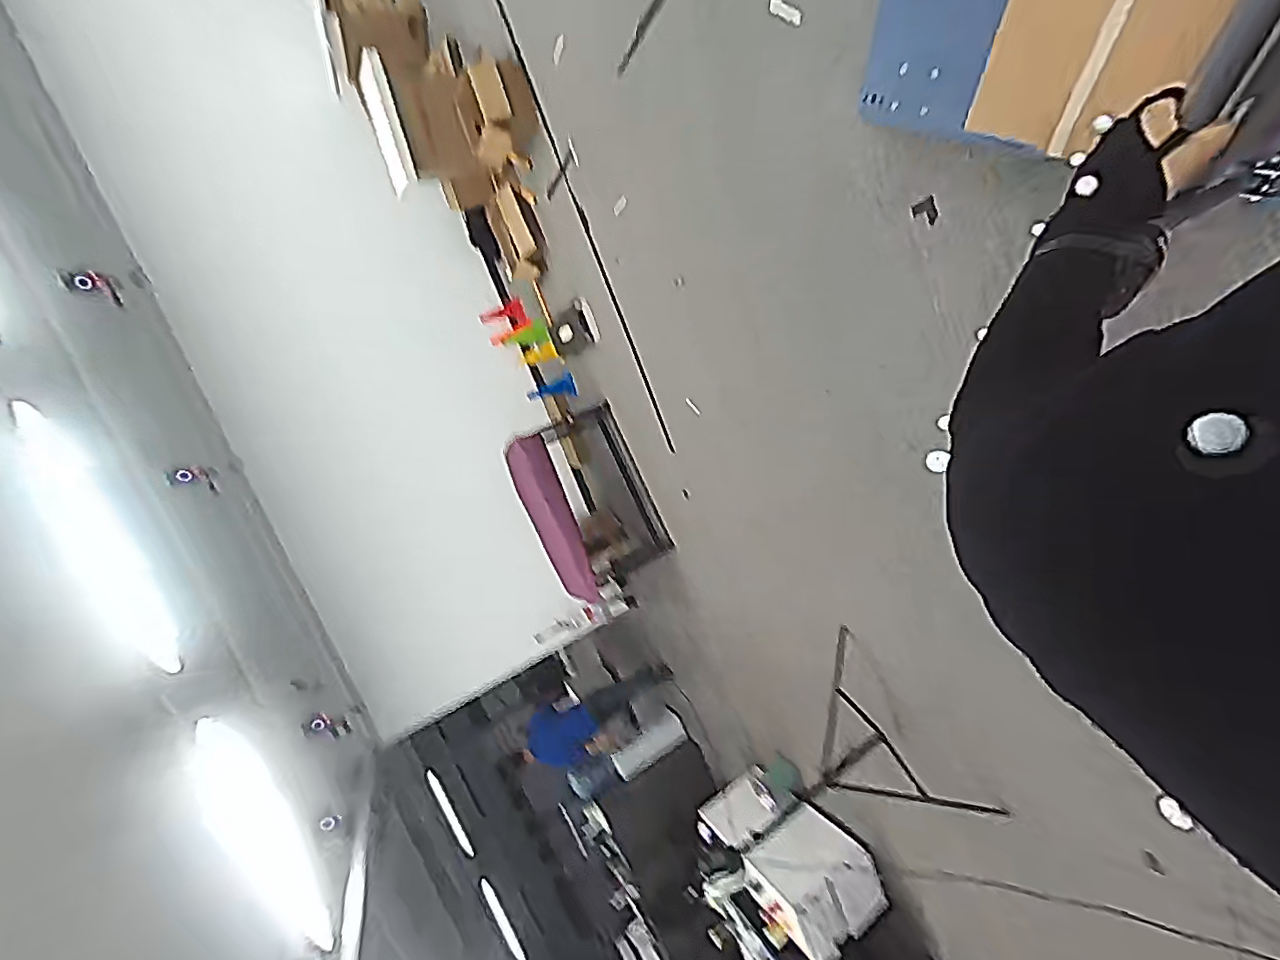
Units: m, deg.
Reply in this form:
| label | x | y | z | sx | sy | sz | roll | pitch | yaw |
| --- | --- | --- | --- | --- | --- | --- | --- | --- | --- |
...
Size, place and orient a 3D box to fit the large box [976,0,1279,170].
| label | x | y | z | sx | sy | sz | roll | pitch | yaw |
| --- | --- | --- | --- | --- | --- | --- | --- | --- | --- |
| large box | 0.762 | -0.694 | 0.732 | 0.320 | 0.320 | 0.408 | 46 | 150 | 36 |
